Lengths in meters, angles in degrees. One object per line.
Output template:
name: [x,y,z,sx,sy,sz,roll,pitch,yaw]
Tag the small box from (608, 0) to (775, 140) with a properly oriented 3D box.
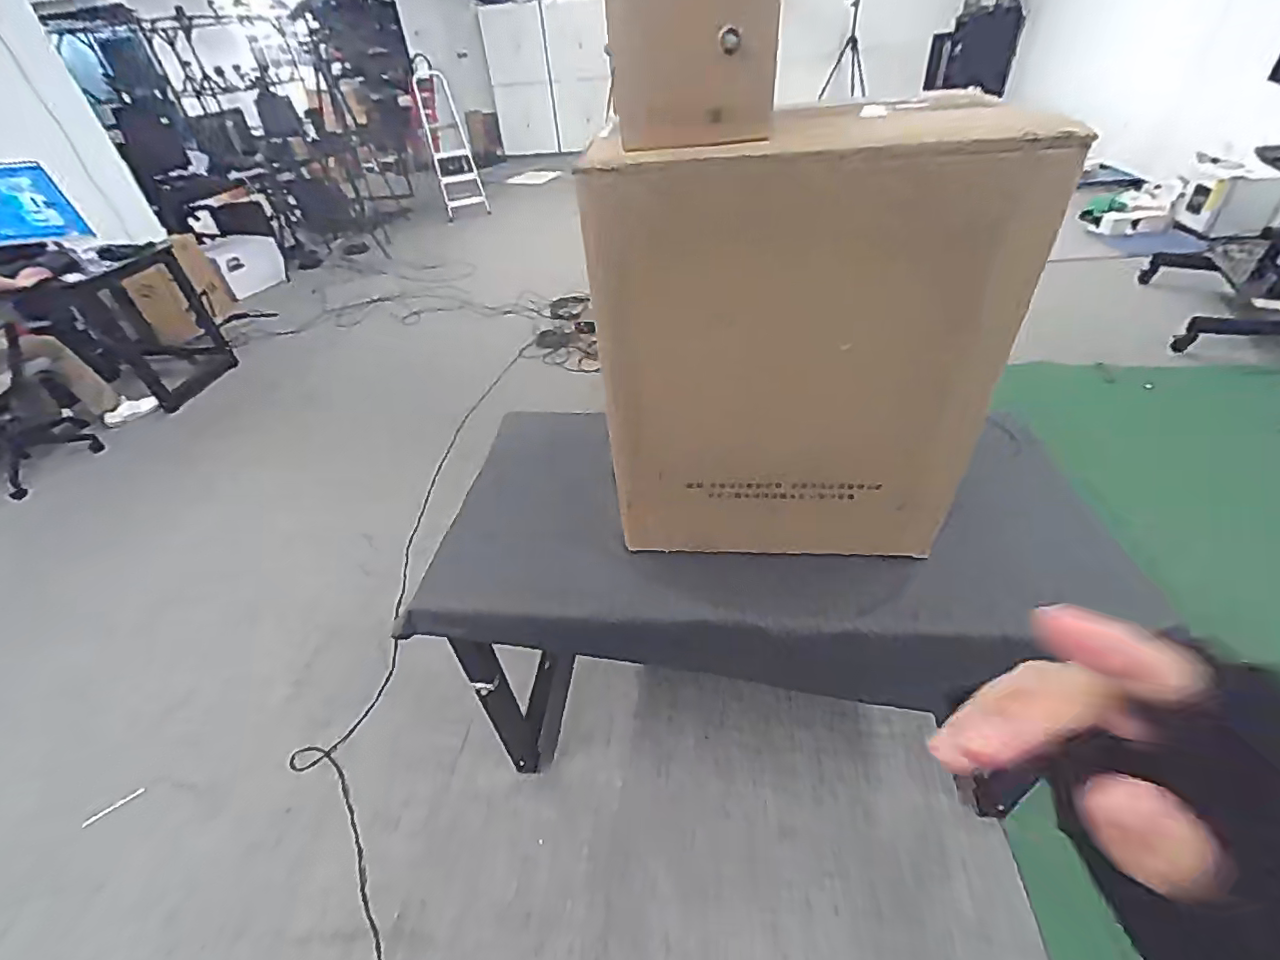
small box: [0.056,-0.494,0.604,0.168,0.176,0.179,-4,43,4]
